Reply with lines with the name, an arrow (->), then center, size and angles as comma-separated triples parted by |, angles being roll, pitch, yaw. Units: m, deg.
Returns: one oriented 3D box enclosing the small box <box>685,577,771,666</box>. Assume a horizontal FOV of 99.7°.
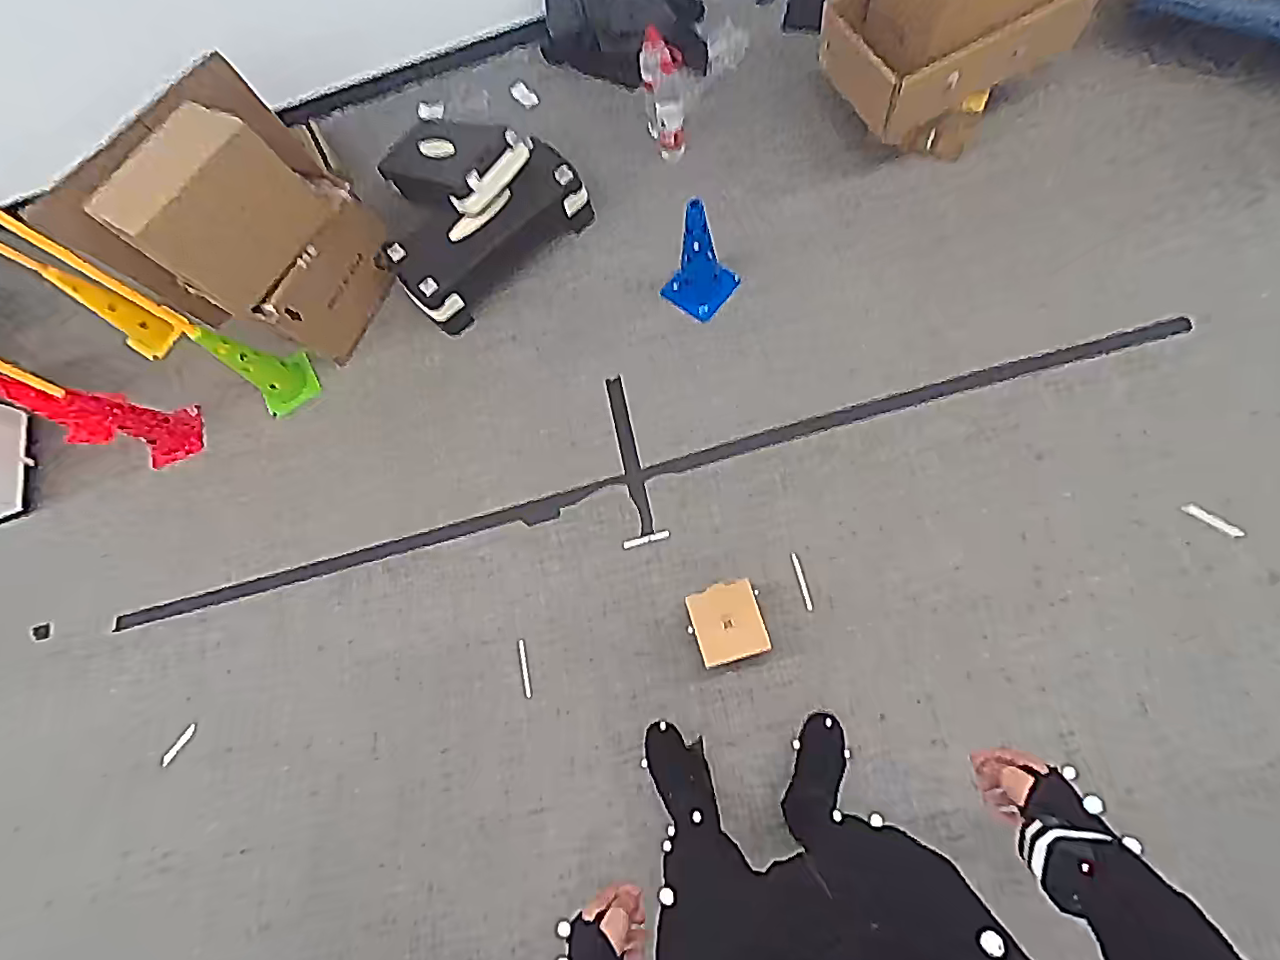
small box -> 0.224, 0.359, 1.377 | 0.168, 0.176, 0.179 | -19, 72, 4
